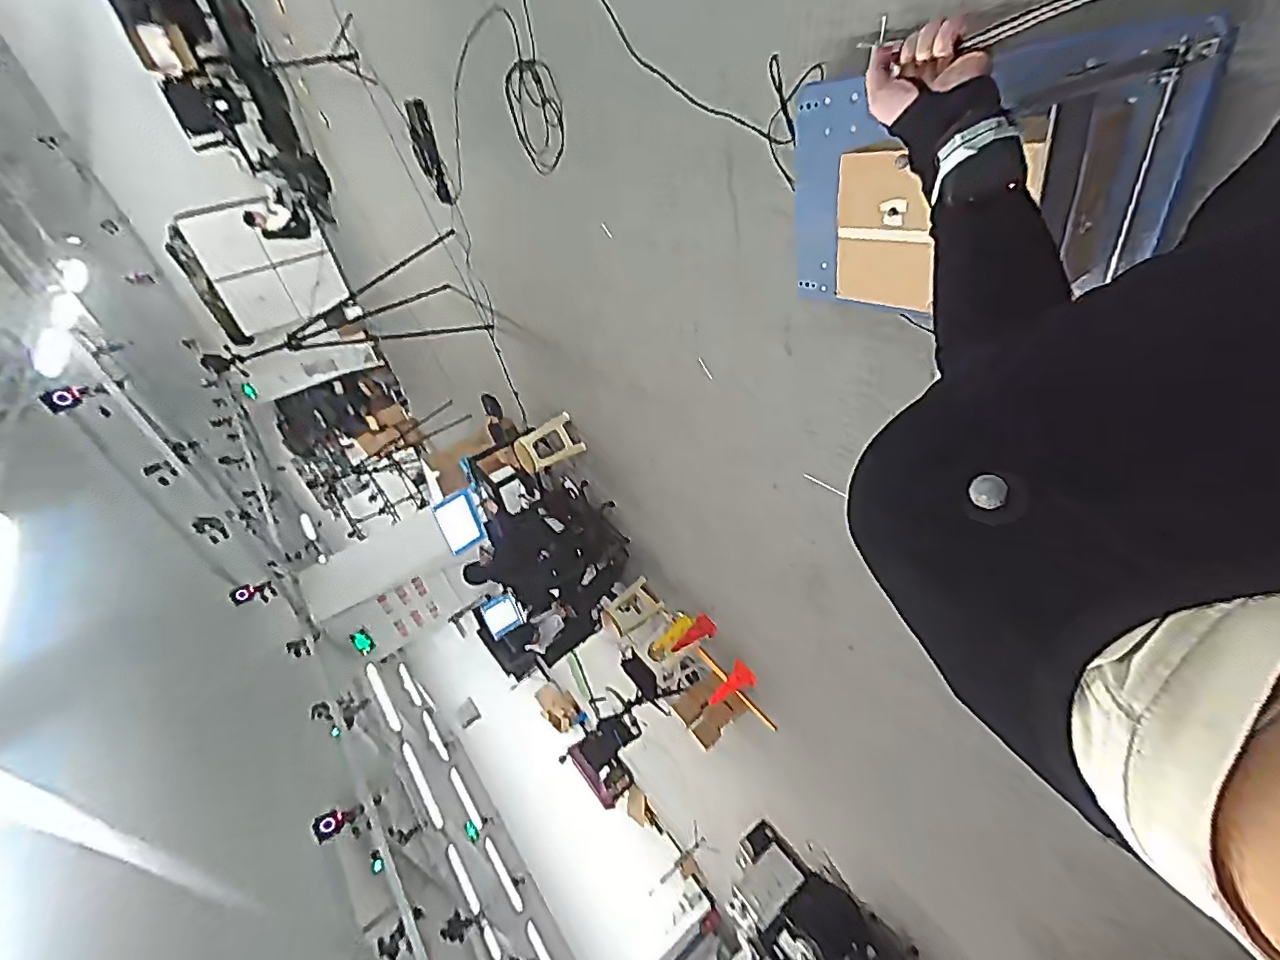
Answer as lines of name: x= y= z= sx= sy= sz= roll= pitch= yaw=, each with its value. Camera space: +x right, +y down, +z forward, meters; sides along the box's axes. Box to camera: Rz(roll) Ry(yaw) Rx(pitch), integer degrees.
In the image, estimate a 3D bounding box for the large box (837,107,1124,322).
large box: x=0.692 y=-0.566 z=1.157 sx=0.408 sy=0.320 sz=0.320 roll=32 pitch=144 yaw=45
